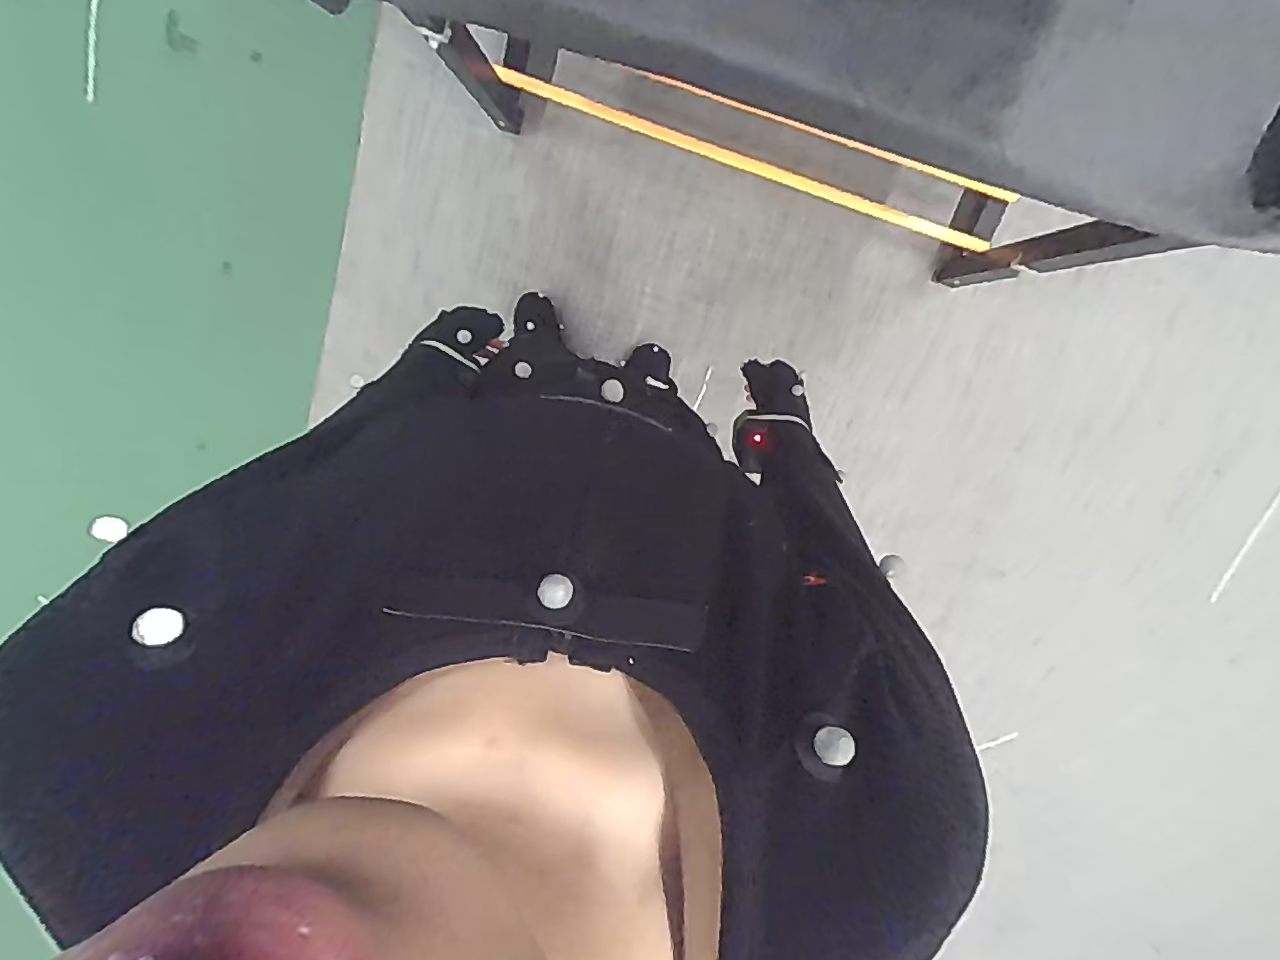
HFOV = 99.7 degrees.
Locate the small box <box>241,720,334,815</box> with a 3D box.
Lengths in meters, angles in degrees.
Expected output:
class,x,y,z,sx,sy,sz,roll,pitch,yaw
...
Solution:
class,x,y,z,sx,sy,sz,roll,pitch,yaw
small box,-1.087,0.886,1.682,0.168,0.176,0.179,21,105,-2
